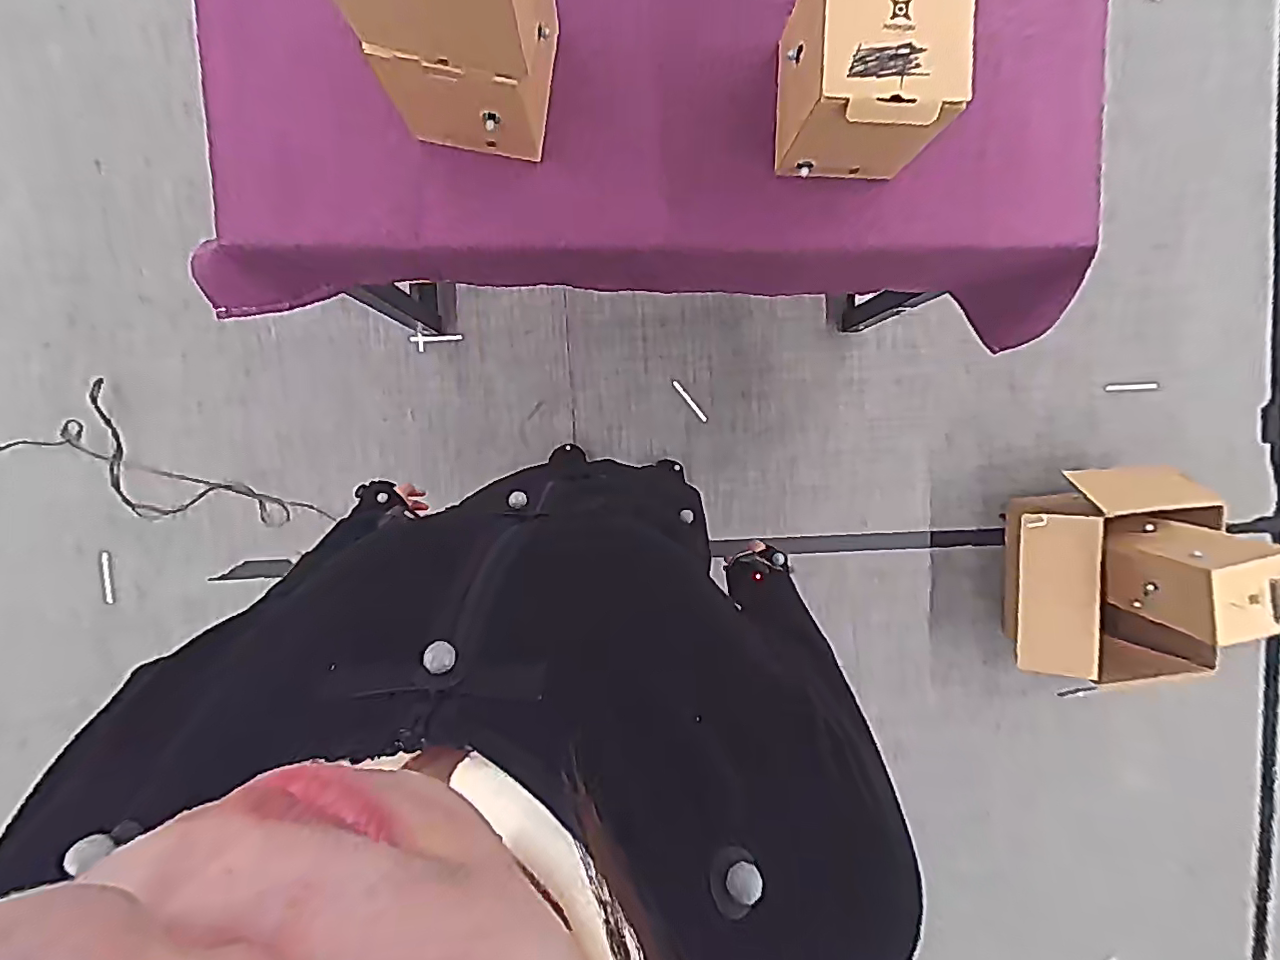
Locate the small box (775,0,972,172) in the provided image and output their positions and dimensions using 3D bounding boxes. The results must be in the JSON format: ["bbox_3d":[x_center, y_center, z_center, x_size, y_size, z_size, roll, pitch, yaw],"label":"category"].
[{"bbox_3d":[0.269,-0.501,0.654,0.168,0.176,0.179,1,94,-3],"label":"small box"}]

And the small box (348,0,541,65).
[{"bbox_3d":[-0.180,-0.508,0.467,0.179,0.176,0.168,10,95,-5],"label":"small box"}]

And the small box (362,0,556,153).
[{"bbox_3d":[-0.195,-0.520,0.630,0.168,0.176,0.179,9,94,-4],"label":"small box"}]

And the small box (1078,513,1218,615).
[{"bbox_3d":[1.218,0.192,1.310,0.168,0.176,0.179,-24,99,1],"label":"small box"}]
